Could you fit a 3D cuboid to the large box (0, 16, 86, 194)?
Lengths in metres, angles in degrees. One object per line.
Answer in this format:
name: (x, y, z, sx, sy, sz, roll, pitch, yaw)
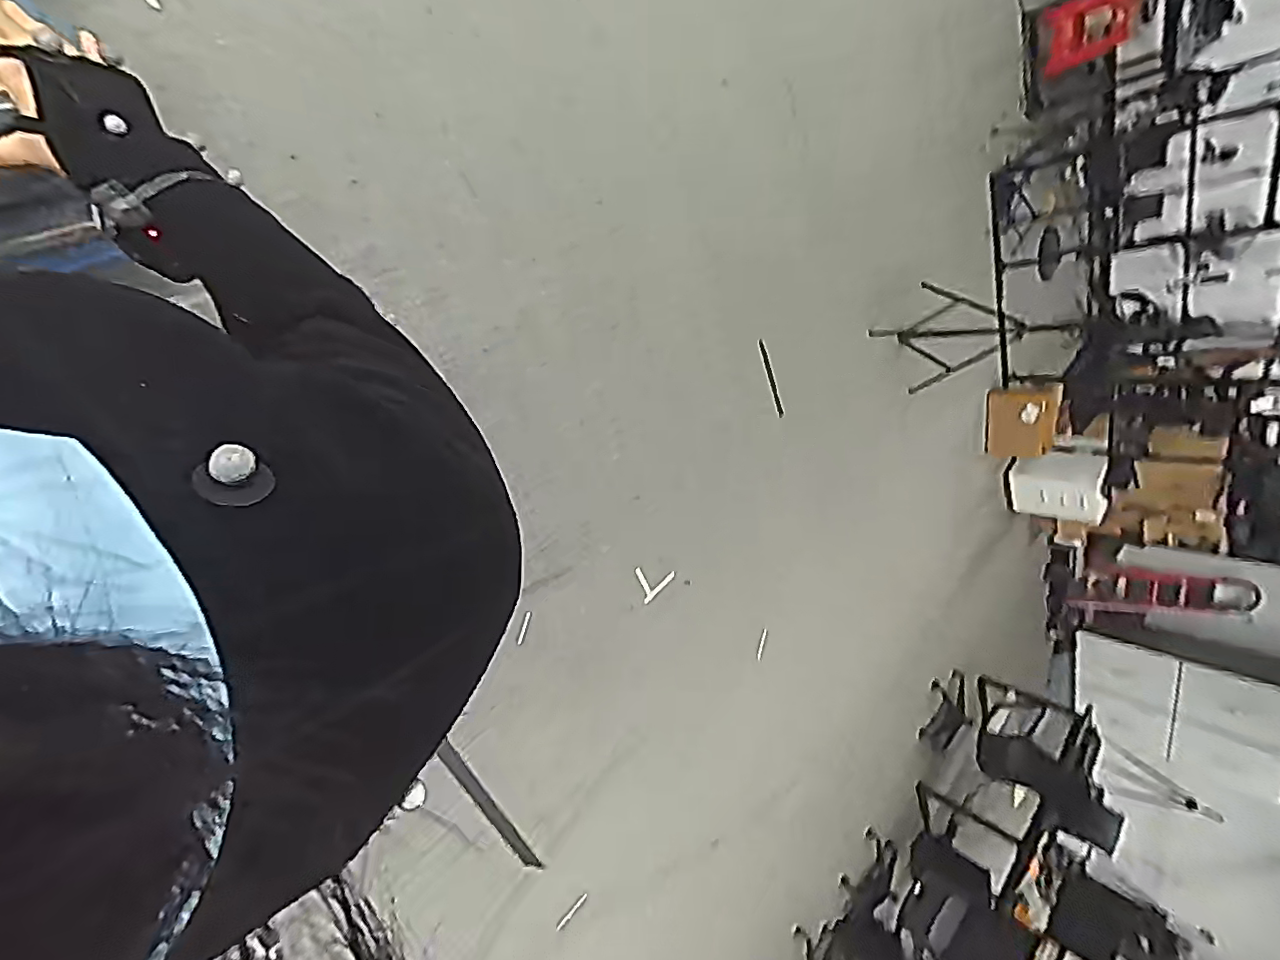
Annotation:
large box: (-1.018, -0.506, 0.634, 0.408, 0.320, 0.320, -42, 122, -28)
